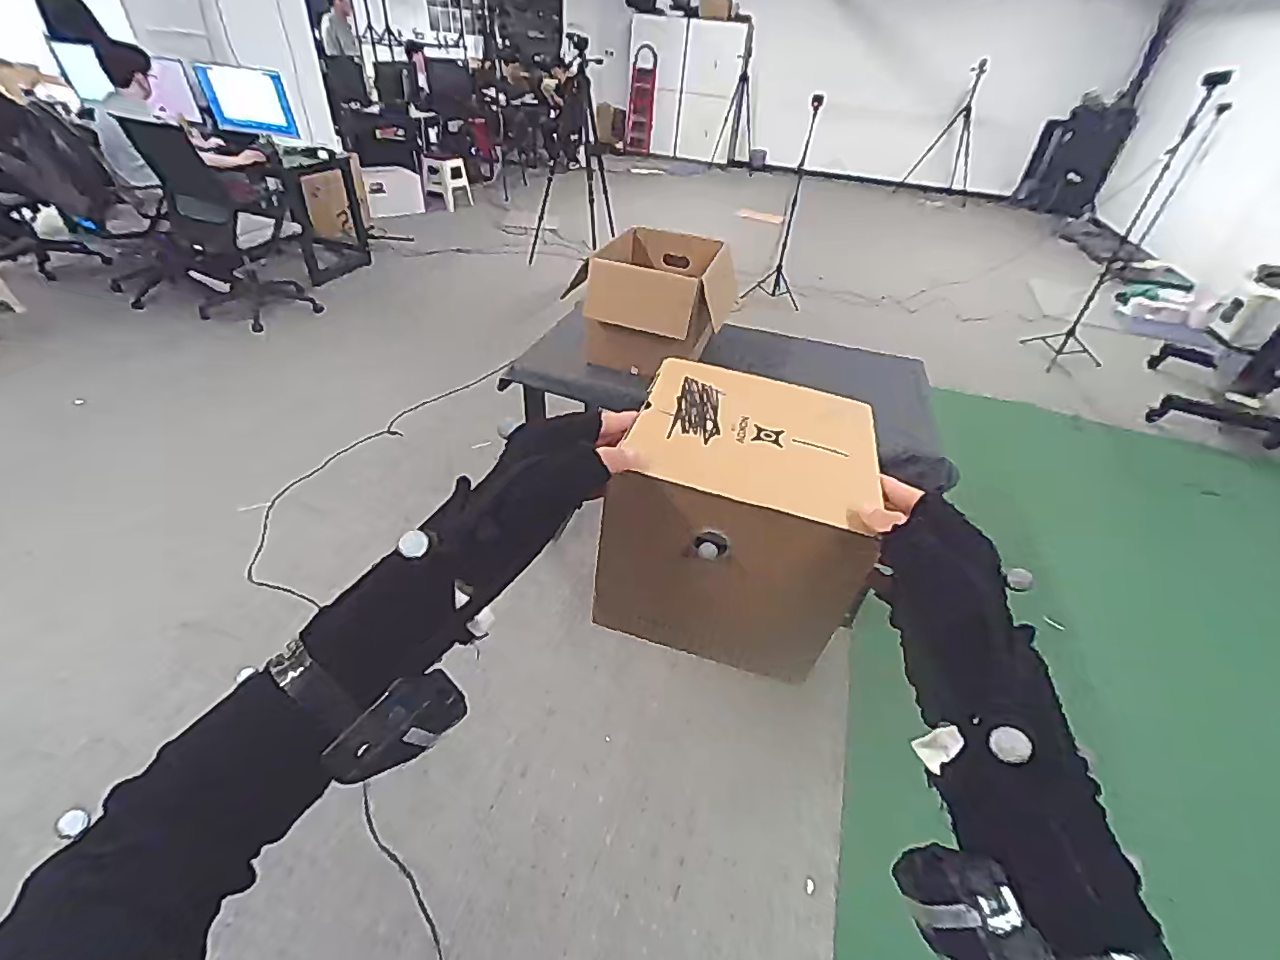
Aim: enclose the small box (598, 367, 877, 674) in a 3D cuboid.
[{"bbox_3d":[0.072,0.032,0.449,0.179,0.176,0.168,15,39,7],"label":"small box"}]
